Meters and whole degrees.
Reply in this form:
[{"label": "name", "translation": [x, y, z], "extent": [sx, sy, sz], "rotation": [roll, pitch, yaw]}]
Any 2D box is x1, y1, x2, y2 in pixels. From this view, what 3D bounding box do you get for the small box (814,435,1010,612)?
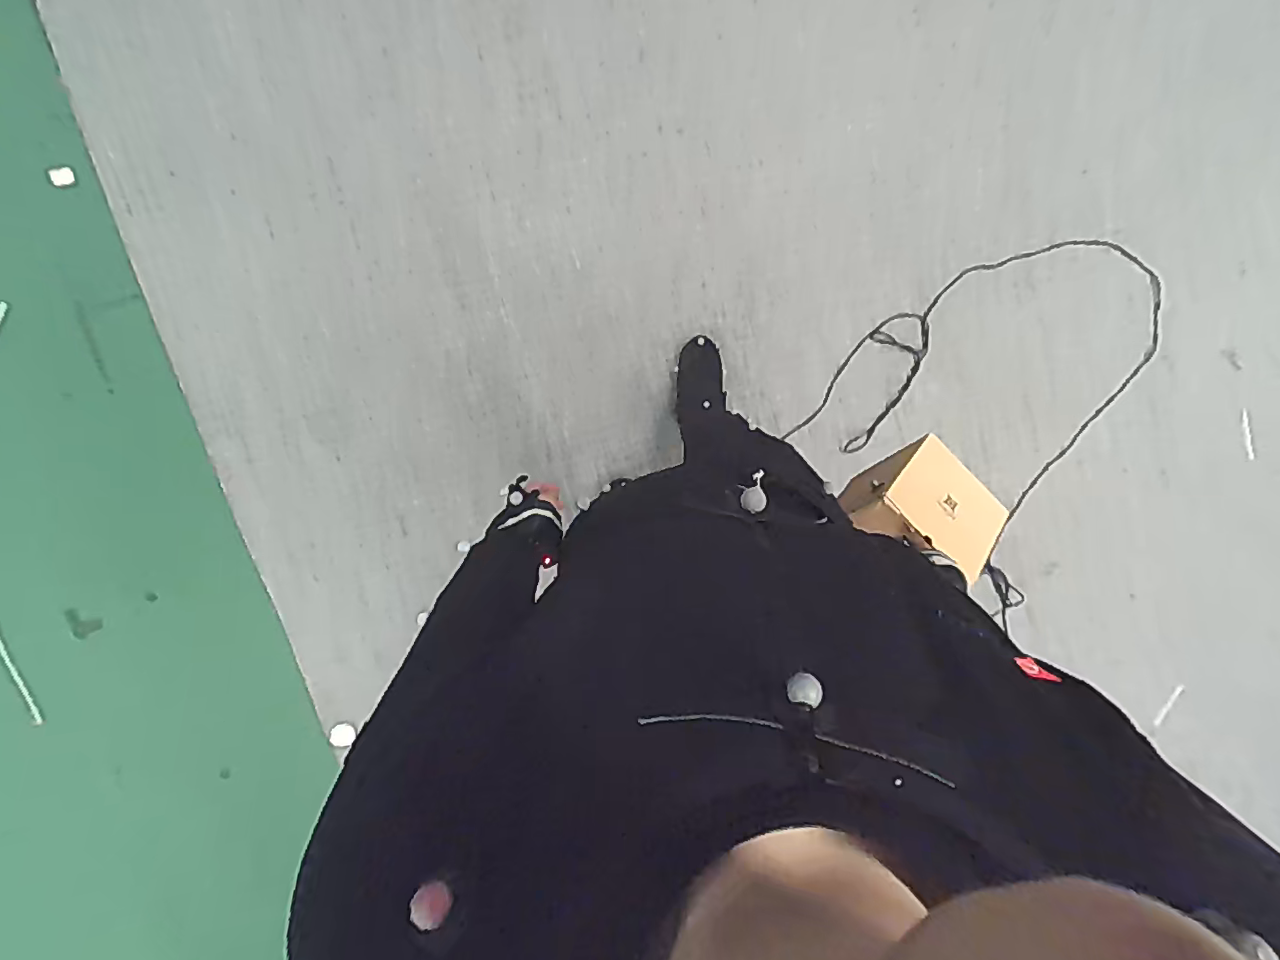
[{"label": "small box", "translation": [0.393, 0.069, 0.800], "extent": [0.168, 0.176, 0.179], "rotation": [48, 57, 3]}]
